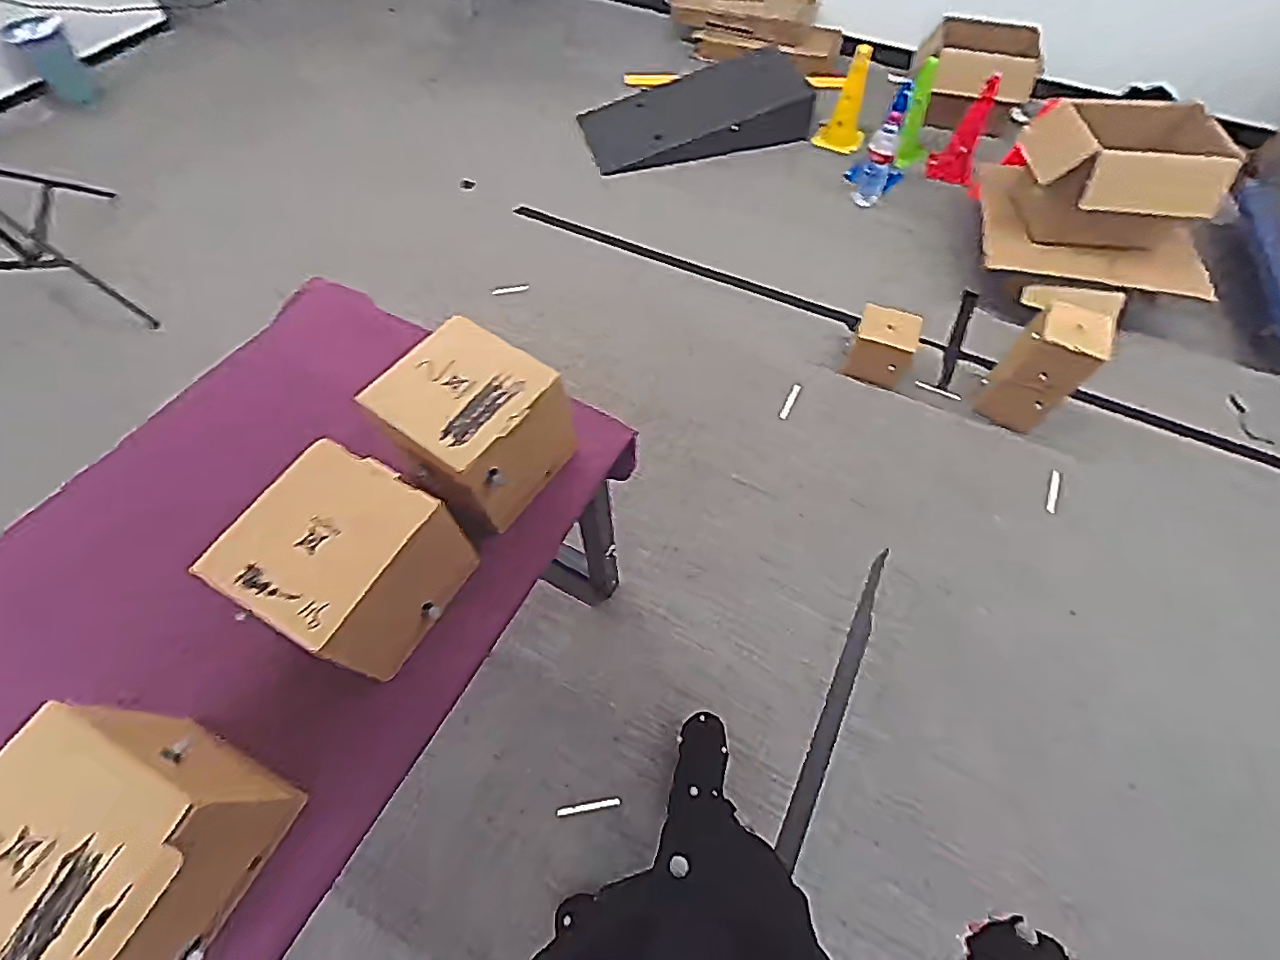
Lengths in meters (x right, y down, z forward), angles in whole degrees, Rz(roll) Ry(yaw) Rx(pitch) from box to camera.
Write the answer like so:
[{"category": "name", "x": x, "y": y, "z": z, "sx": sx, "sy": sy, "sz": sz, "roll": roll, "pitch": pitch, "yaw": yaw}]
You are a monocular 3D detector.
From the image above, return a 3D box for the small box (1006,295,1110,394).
[{"category": "small box", "x": 1.177, "y": -0.380, "z": 1.533, "sx": 0.168, "sy": 0.176, "sz": 0.179, "roll": 24, "pitch": 64, "yaw": 11}]

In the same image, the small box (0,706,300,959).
[{"category": "small box", "x": -0.451, "y": 0.322, "z": 0.472, "sx": 0.179, "sy": 0.176, "sz": 0.168, "roll": 23, "pitch": 63, "yaw": 12}]

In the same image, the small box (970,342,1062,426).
[{"category": "small box", "x": 1.169, "y": -0.291, "z": 1.669, "sx": 0.179, "sy": 0.176, "sz": 0.168, "roll": 28, "pitch": 64, "yaw": 14}]

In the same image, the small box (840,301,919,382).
[{"category": "small box", "x": 0.771, "y": -0.442, "z": 1.749, "sx": 0.179, "sy": 0.176, "sz": 0.168, "roll": 18, "pitch": 61, "yaw": 11}]
